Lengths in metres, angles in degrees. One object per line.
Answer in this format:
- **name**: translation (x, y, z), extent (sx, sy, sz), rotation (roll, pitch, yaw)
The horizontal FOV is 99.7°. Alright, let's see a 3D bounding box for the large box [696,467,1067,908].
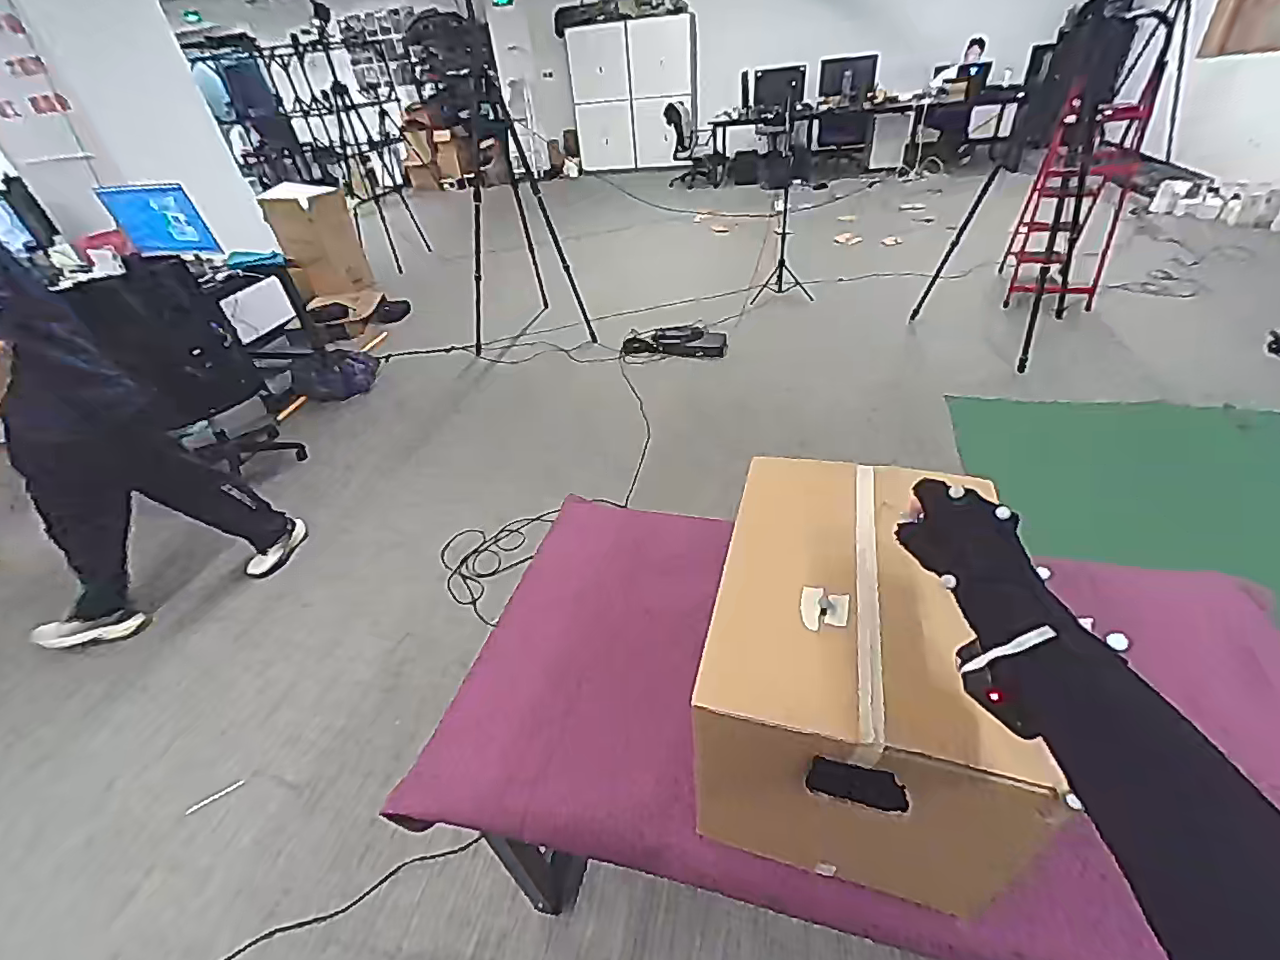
- **large box**: translation (0.264, 0.236, 0.710), extent (0.320, 0.320, 0.408), rotation (7, 40, 17)
